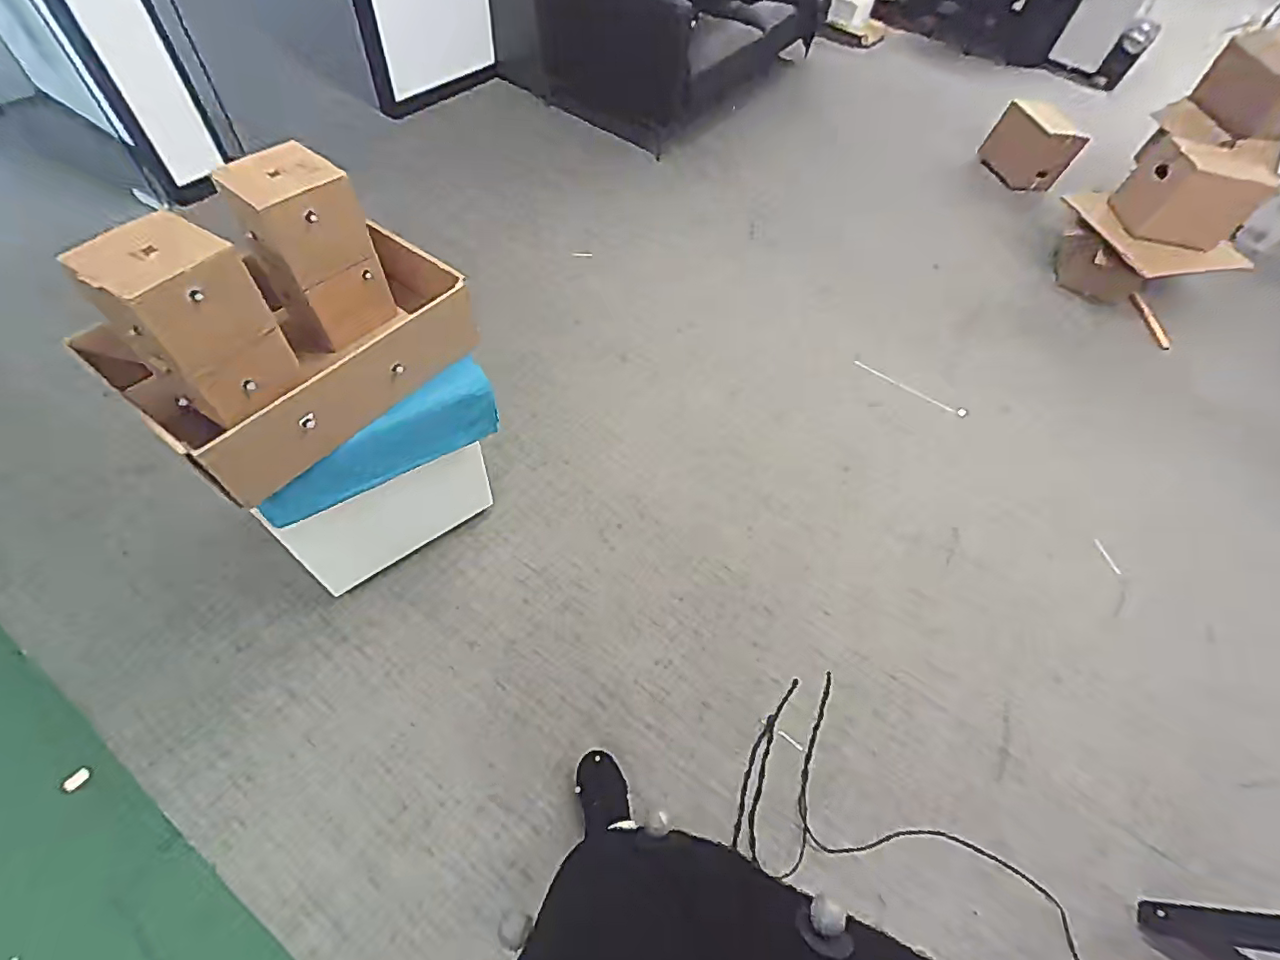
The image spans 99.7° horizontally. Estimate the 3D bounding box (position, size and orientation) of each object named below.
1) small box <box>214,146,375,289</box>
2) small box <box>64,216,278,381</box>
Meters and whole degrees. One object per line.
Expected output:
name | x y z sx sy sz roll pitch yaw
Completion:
small box | -0.656 -0.504 1.048 0.168 0.176 0.179 36 60 17
small box | -0.759 -0.297 0.899 0.168 0.176 0.179 28 57 13
